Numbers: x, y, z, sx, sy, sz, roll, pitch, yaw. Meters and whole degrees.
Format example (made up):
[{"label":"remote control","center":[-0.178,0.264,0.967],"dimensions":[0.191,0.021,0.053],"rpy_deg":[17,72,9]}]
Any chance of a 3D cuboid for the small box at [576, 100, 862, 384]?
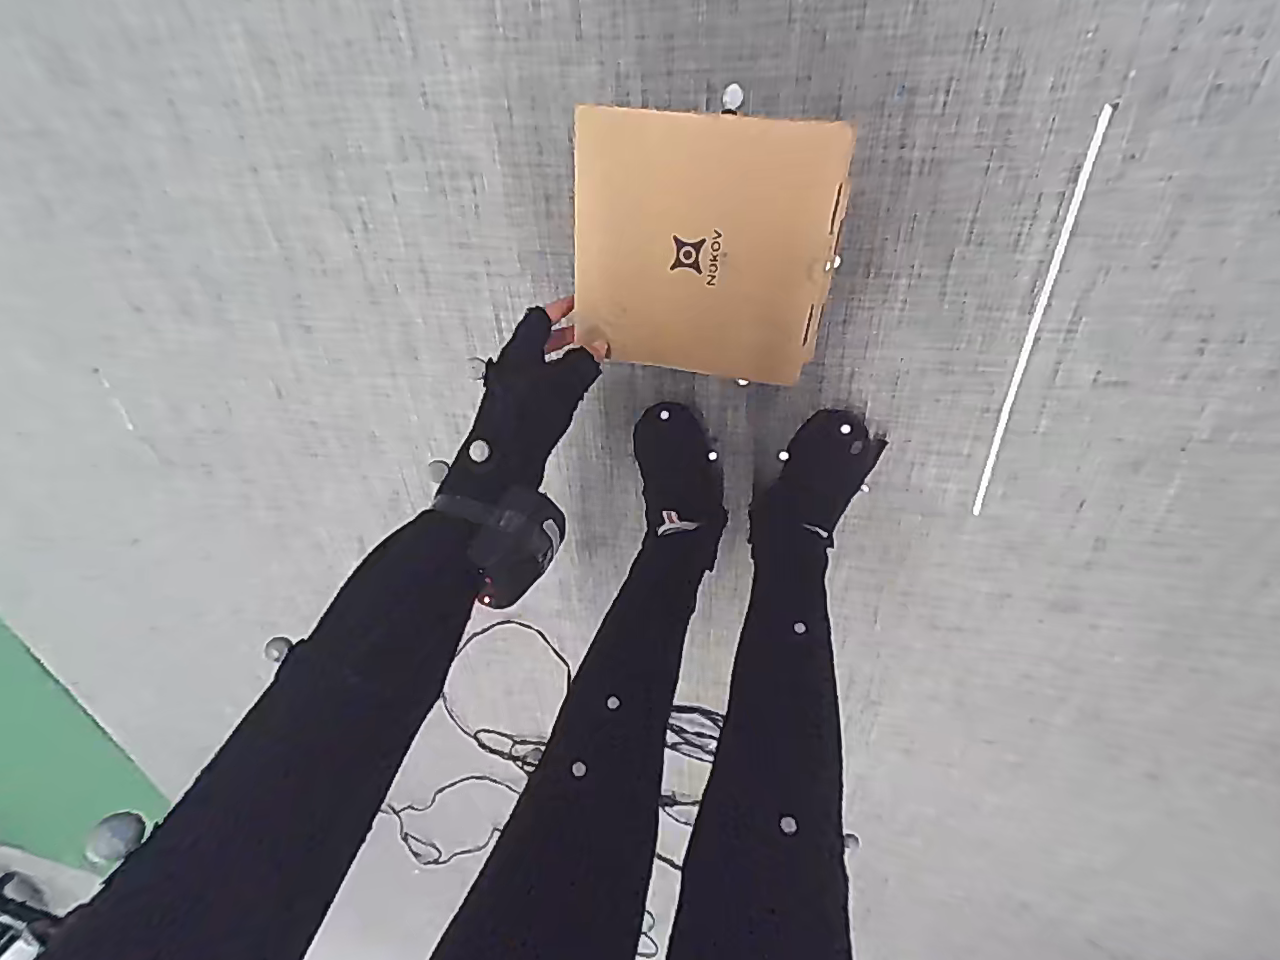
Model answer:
[{"label":"small box","center":[0.059,-0.194,0.438],"dimensions":[0.179,0.176,0.168],"rpy_deg":[10,122,9]}]
